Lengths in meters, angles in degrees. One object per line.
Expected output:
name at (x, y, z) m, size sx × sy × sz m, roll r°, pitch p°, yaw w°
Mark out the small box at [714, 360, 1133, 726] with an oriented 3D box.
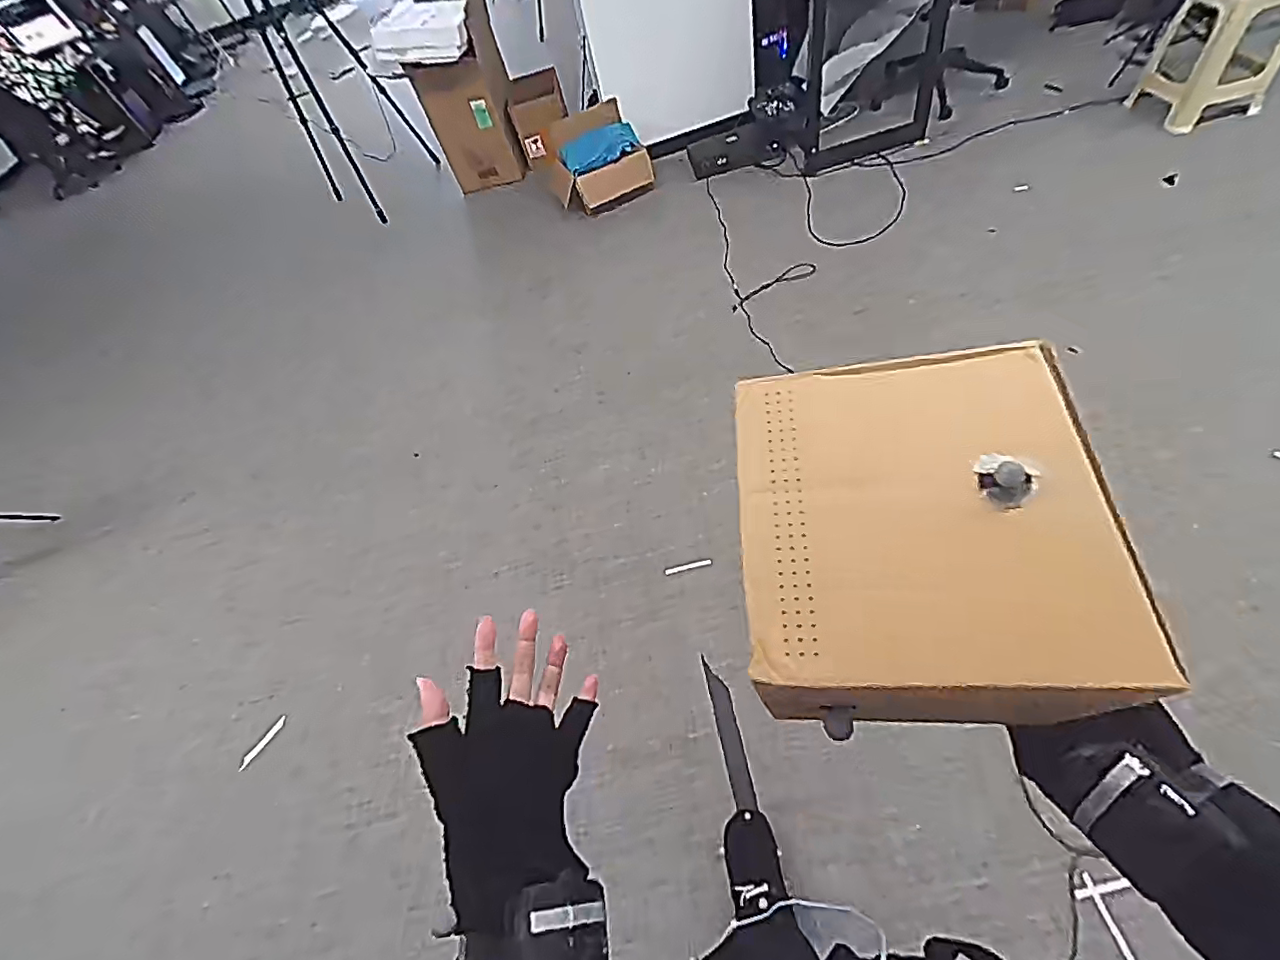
small box at (0.143, 0.054, 0.343) m, size 0.176 × 0.168 × 0.179 m, roll -7°, pitch 60°, yaw 16°
